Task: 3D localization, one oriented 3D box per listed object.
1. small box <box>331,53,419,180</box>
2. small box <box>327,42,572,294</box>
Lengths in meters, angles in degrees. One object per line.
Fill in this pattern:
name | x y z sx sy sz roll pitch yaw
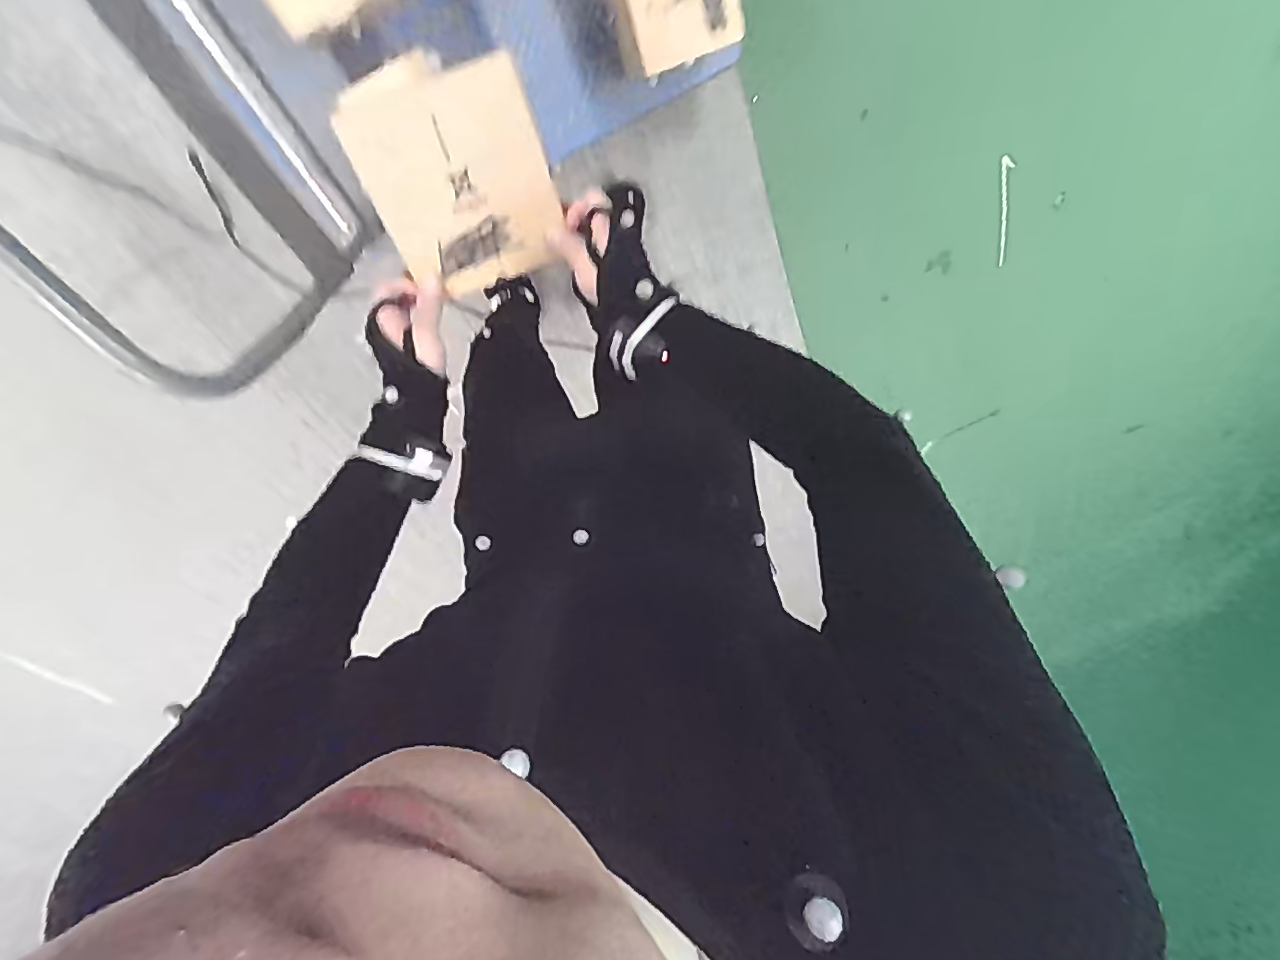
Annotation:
small box | -0.394 -0.602 0.913 0.179 0.176 0.168 -2 127 -15
small box | -0.177 -0.326 0.563 0.168 0.176 0.179 -17 130 1
